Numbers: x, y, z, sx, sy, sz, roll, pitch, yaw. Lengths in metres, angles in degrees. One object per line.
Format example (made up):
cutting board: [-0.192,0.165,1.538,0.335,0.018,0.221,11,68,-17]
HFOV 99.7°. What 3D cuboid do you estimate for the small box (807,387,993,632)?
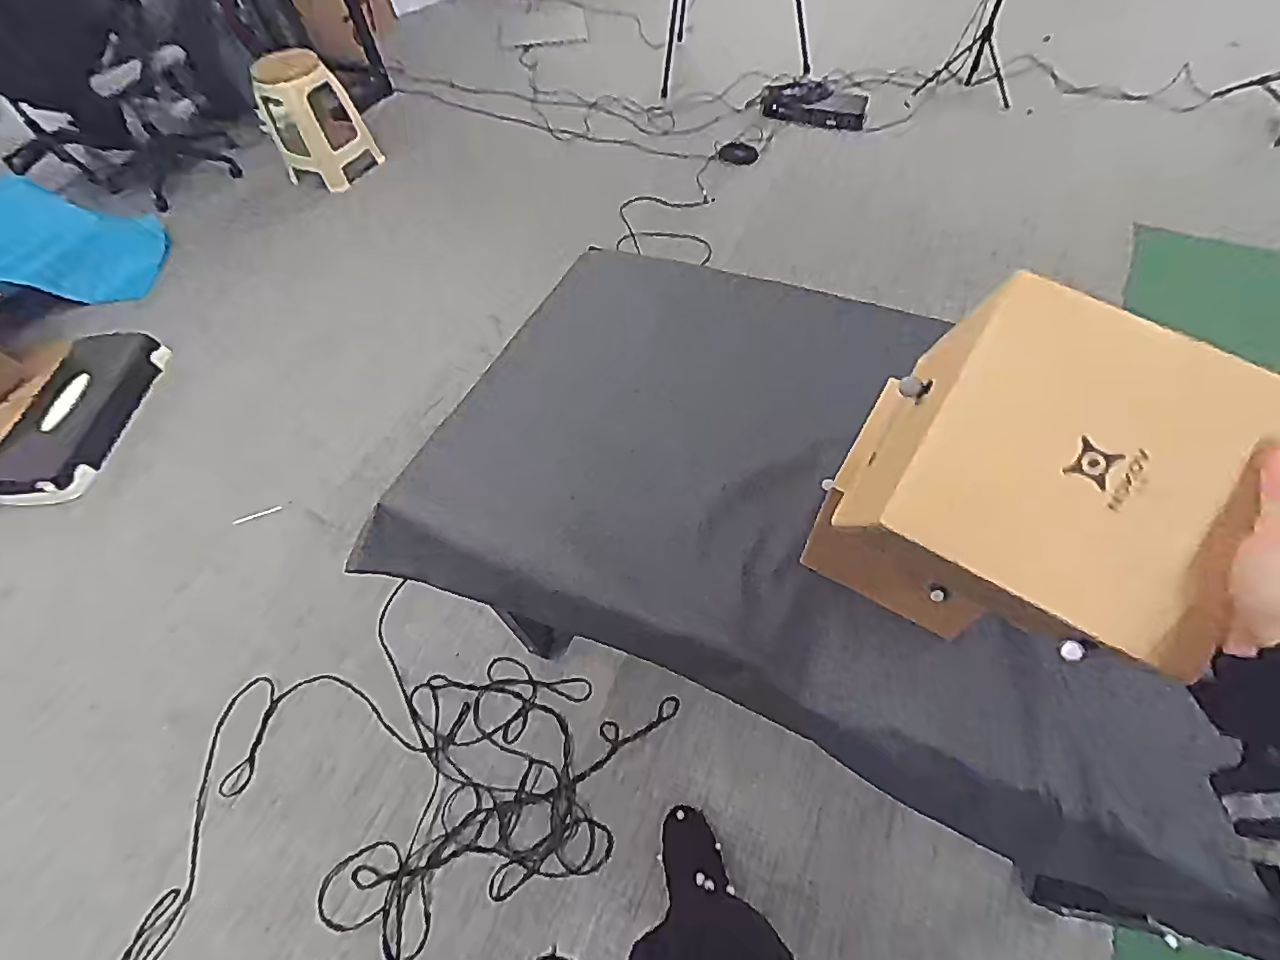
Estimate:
small box: [0.302,0.038,0.574,0.179,0.176,0.168,26,61,21]

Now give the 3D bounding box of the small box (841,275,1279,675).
small box: [0.264,0.000,0.371,0.179,0.176,0.168,28,90,11]
